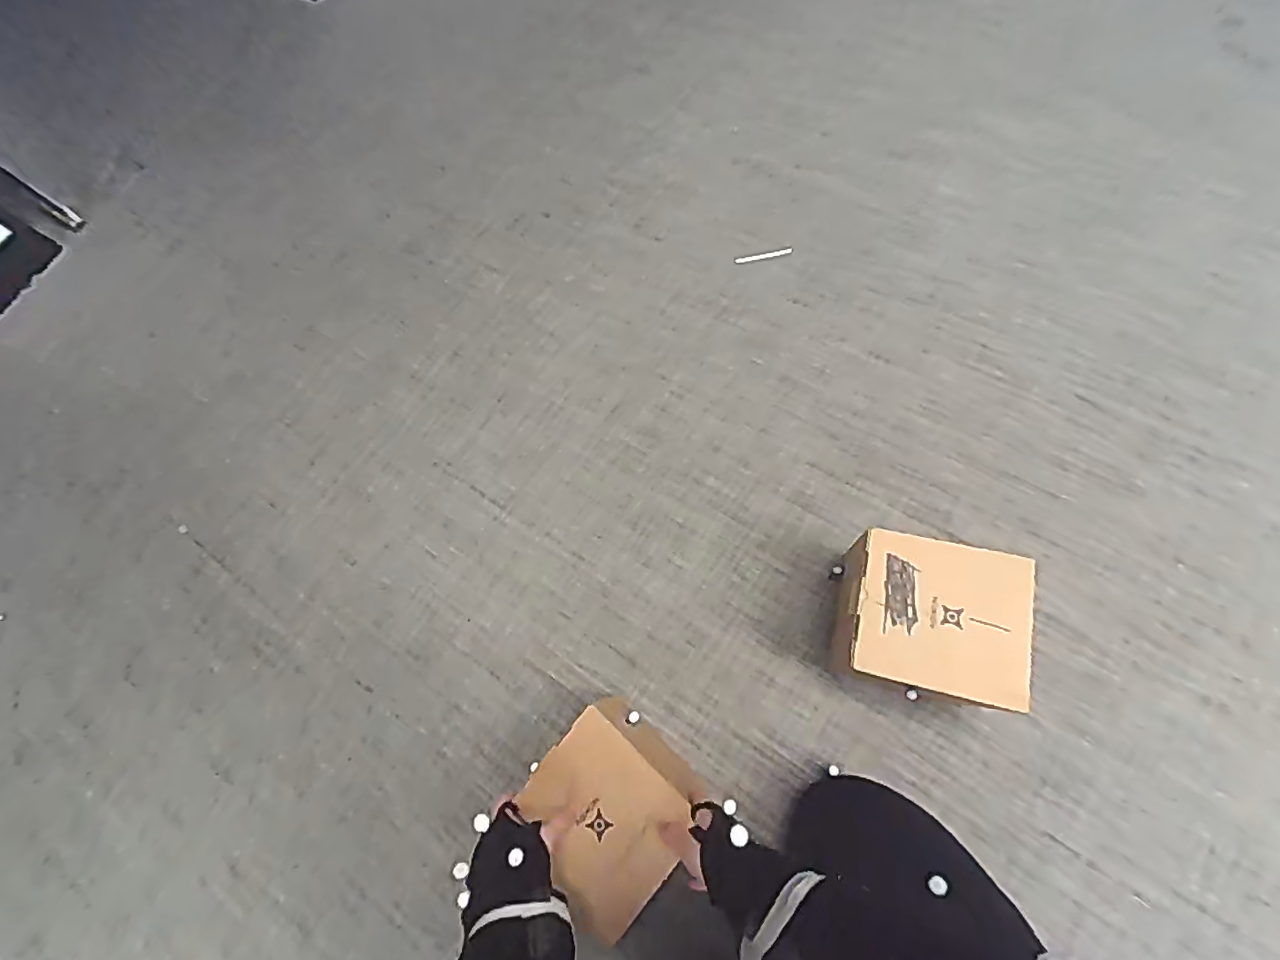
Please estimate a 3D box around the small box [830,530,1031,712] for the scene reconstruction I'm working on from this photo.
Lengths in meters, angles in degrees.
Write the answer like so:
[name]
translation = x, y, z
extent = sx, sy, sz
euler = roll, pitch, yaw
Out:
[small box]
translation = 0.343, 0.176, 0.669
extent = 0.179, 0.176, 0.168
euler = 11, 73, 13
